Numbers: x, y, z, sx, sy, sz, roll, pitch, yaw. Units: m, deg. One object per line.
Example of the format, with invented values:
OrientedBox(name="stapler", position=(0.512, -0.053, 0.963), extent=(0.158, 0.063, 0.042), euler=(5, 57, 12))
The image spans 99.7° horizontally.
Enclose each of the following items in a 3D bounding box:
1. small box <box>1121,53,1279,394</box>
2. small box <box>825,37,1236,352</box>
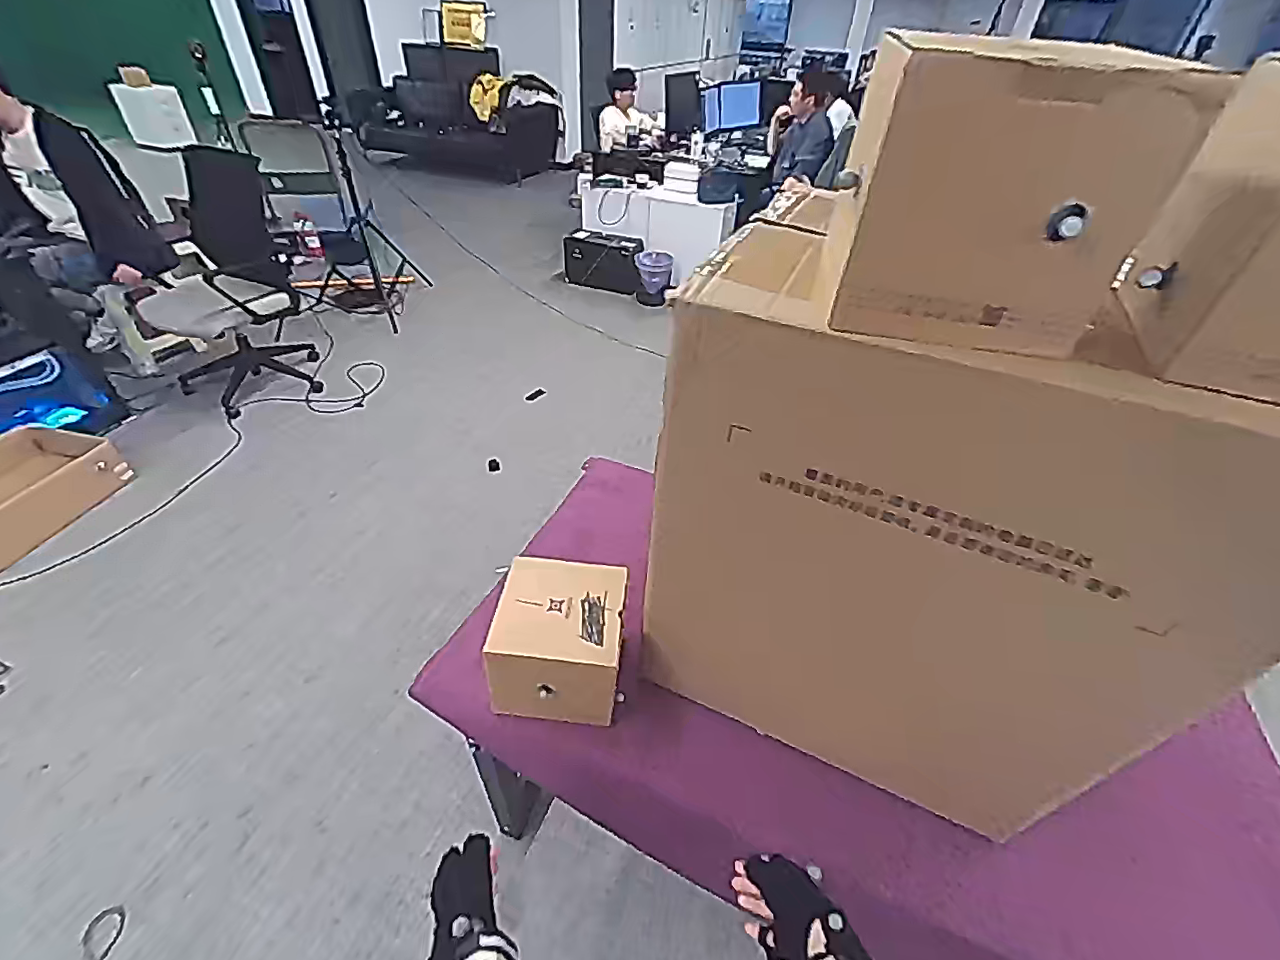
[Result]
OrientedBox(name="small box", position=(0.462, -0.157, 0.346), extent=(0.168, 0.176, 0.179), euler=(19, 45, 17))
OrientedBox(name="small box", position=(0.244, -0.214, 0.403), extent=(0.168, 0.176, 0.179), euler=(11, 41, 7))
